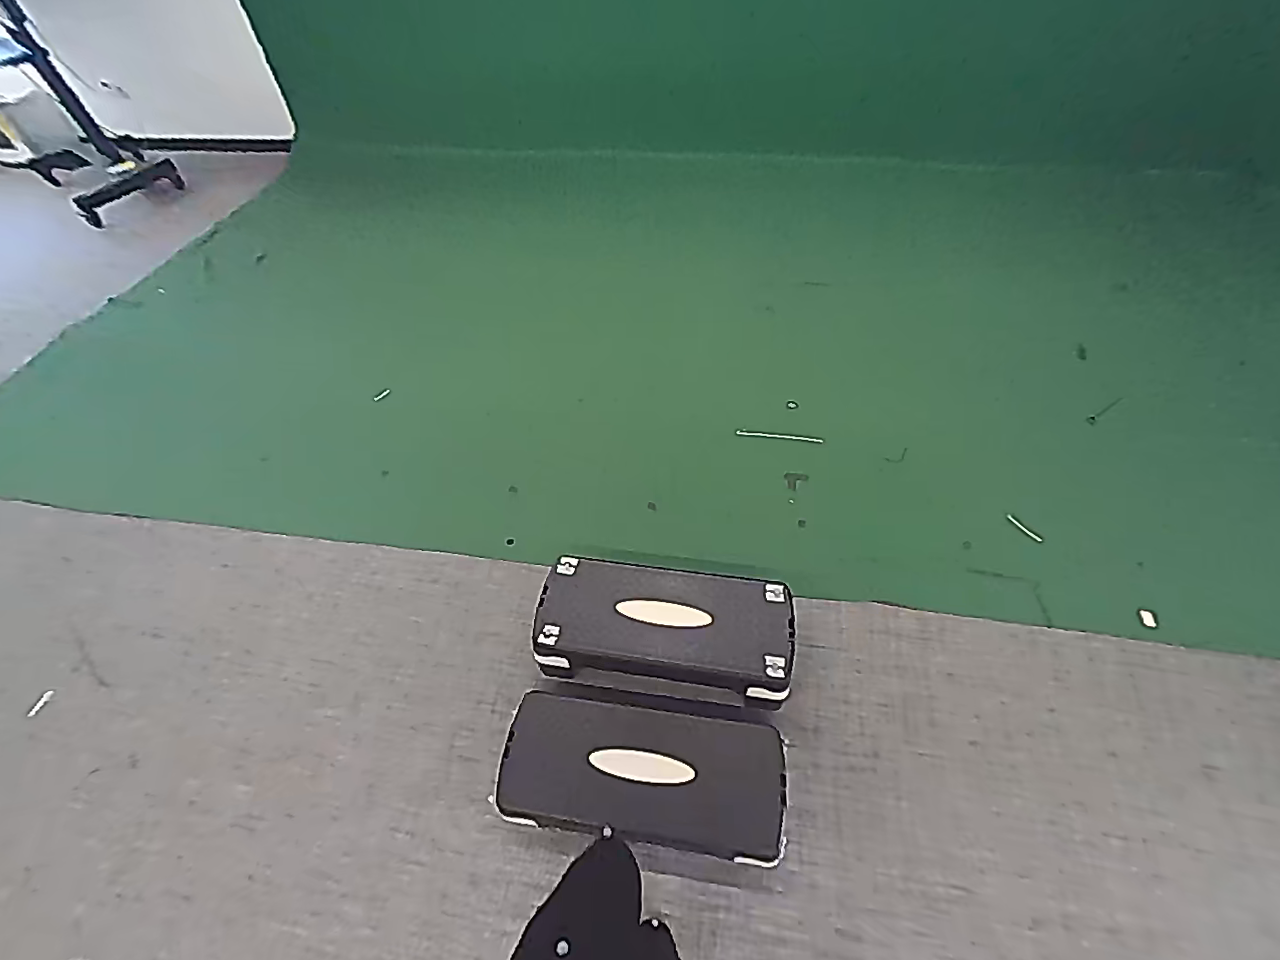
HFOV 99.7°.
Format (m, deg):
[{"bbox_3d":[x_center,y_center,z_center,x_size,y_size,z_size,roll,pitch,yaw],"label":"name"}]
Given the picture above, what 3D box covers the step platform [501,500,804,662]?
[{"bbox_3d":[0.033,0.243,1.310,0.684,0.204,0.286,5,52,8],"label":"step platform"}]
